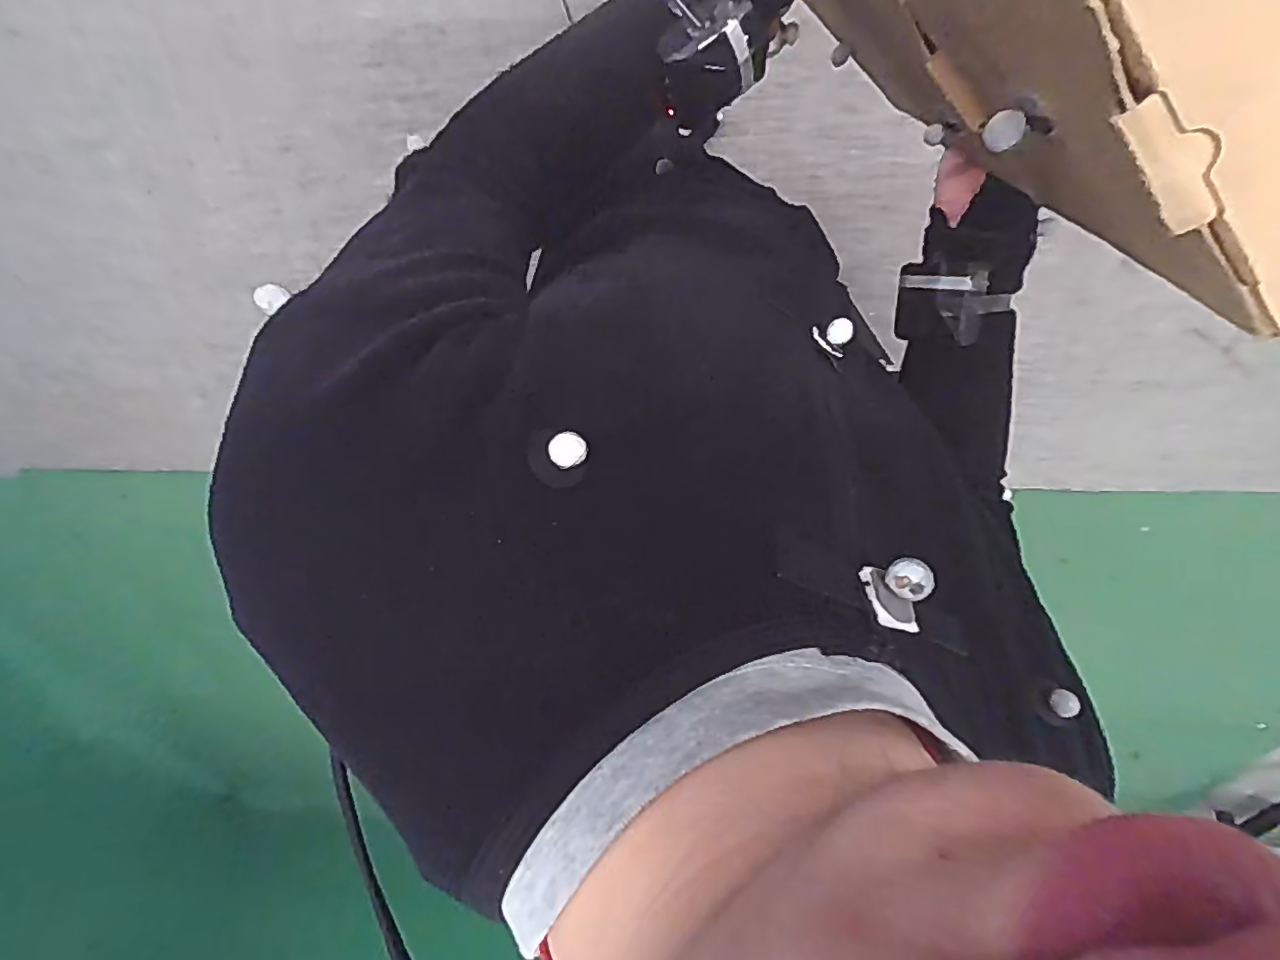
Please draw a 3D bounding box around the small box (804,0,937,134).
[{"bbox_3d":[0.242,-0.398,0.400,0.168,0.176,0.179,33,128,-20],"label":"small box"}]

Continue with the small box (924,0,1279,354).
[{"bbox_3d":[0.210,-0.180,0.160,0.168,0.176,0.179,35,127,-23],"label":"small box"}]

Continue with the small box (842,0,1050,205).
[{"bbox_3d":[0.224,-0.290,0.281,0.168,0.176,0.179,33,126,-21],"label":"small box"}]
